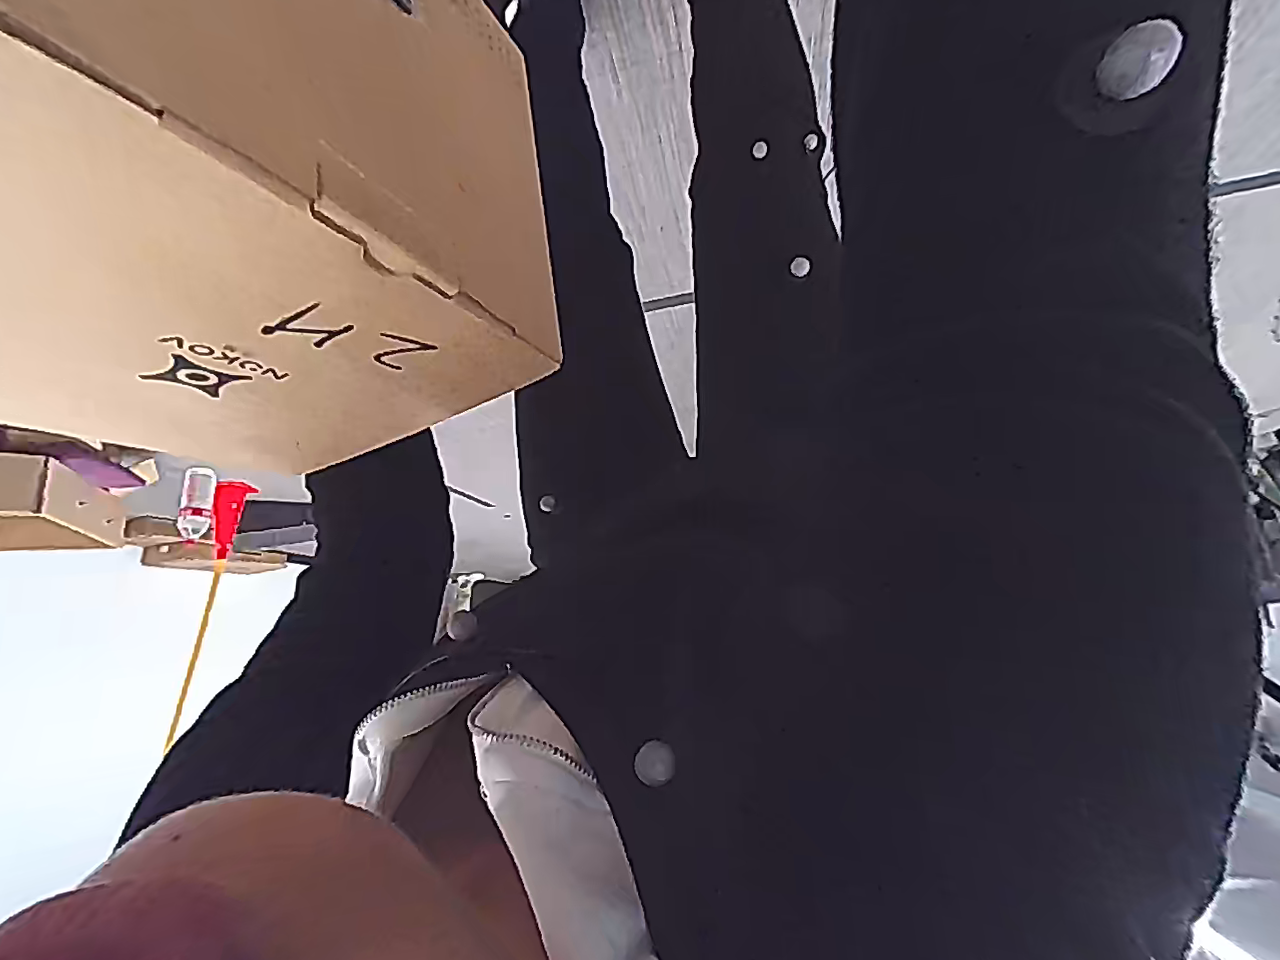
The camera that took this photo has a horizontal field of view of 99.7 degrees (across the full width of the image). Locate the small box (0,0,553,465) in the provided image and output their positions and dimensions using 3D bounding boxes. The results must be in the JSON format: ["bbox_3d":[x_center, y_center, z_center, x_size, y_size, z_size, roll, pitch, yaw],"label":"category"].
[{"bbox_3d":[-0.156,-0.122,0.207,0.179,0.176,0.168,-17,164,23],"label":"small box"}]
